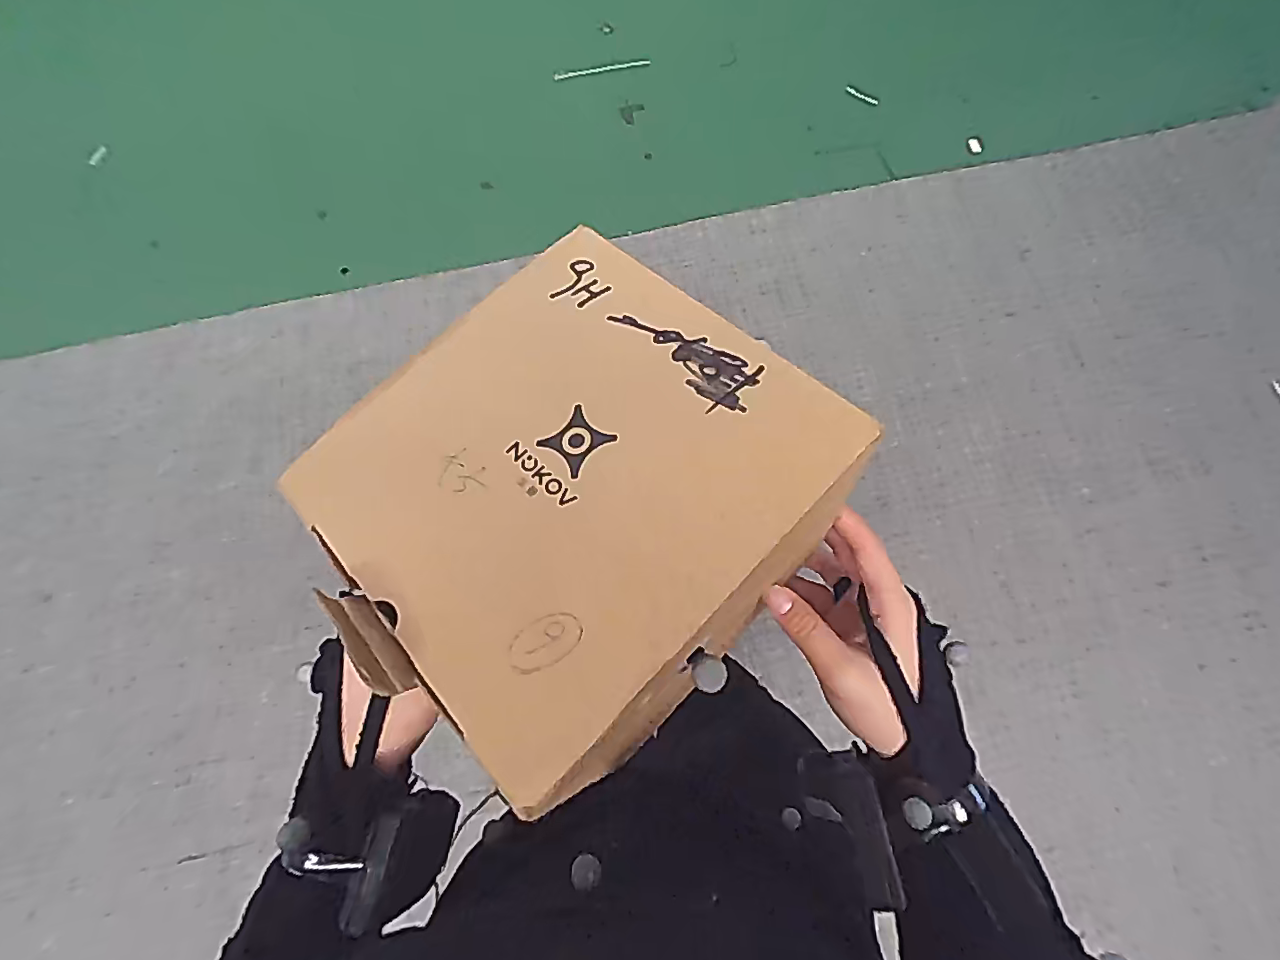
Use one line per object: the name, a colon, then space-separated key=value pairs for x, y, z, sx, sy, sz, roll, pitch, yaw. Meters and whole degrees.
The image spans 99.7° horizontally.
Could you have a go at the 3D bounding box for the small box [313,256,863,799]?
small box: x=-0.016 y=0.029 z=0.292 sx=0.168 sy=0.176 sz=0.179 roll=41 pitch=78 yaw=21
